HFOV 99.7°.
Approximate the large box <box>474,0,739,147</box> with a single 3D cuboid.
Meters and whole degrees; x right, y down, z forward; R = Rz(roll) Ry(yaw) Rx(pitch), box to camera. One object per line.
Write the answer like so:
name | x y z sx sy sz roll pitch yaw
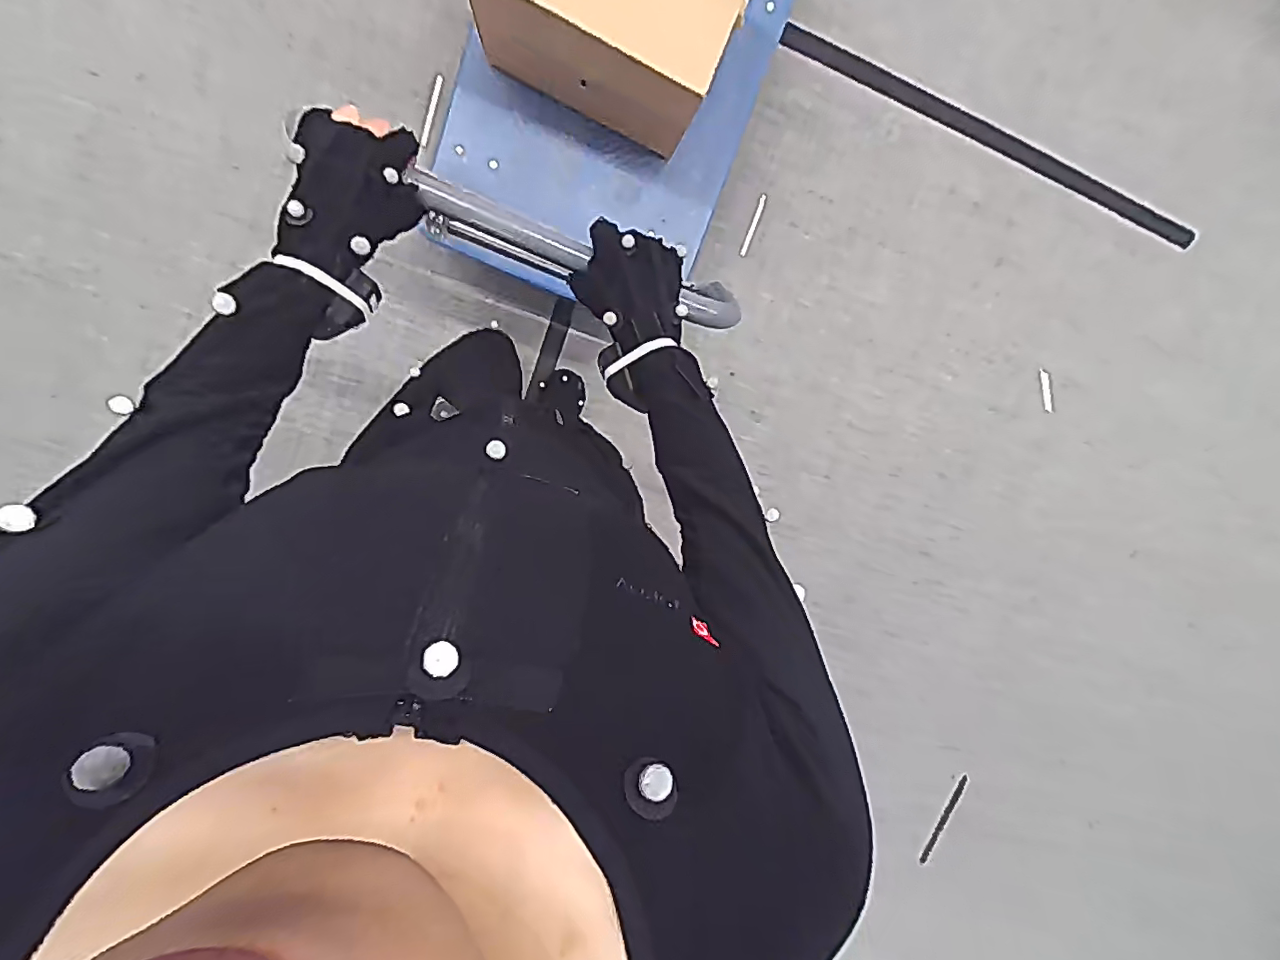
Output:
large box | -0.037 -0.862 0.937 0.408 0.320 0.320 21 101 -12
